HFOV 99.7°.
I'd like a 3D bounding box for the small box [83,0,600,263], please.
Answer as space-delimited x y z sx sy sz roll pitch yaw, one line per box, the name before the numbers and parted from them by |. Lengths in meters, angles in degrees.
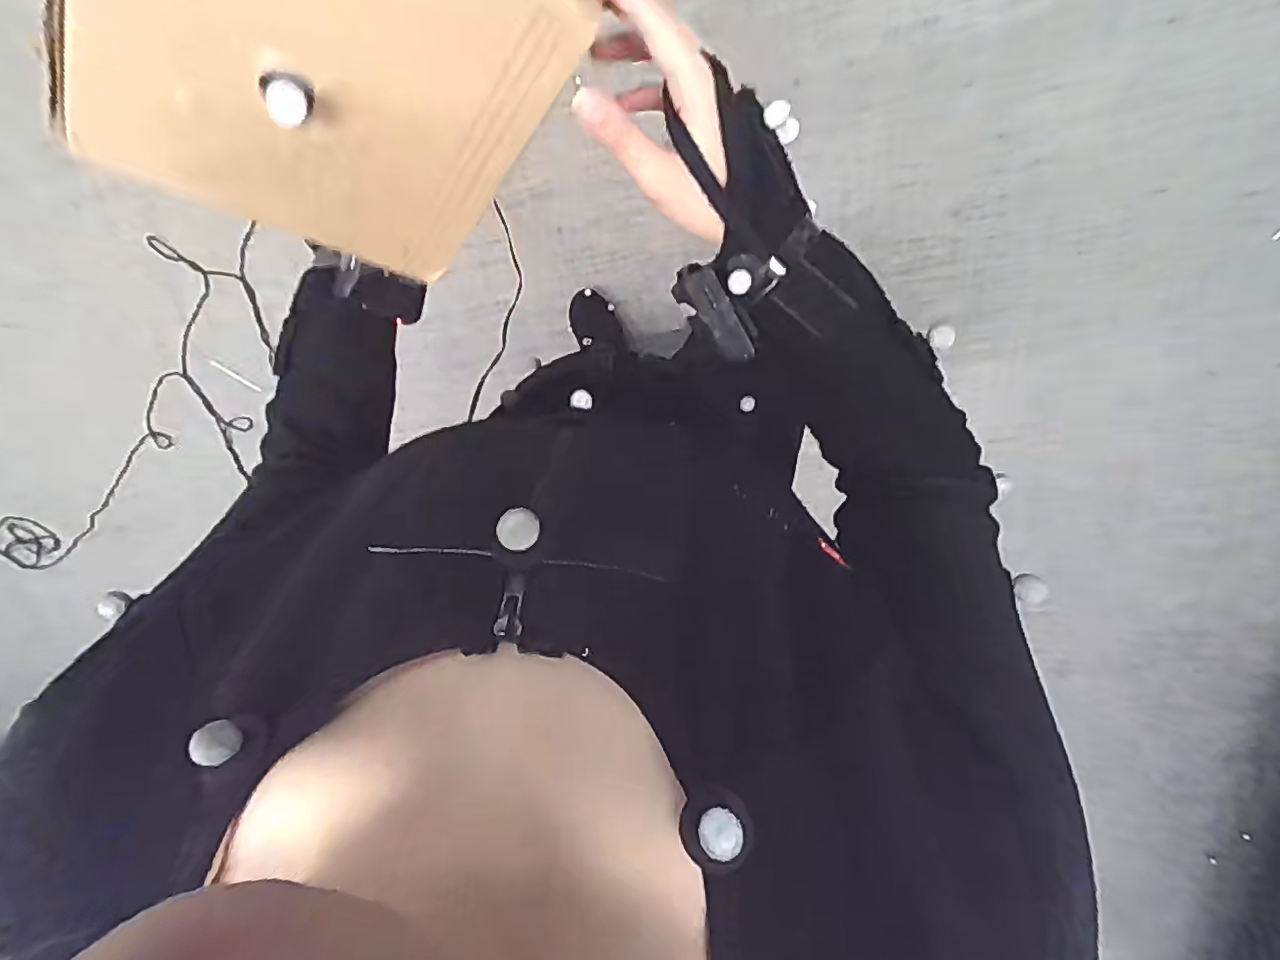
small box | -0.144 -0.247 0.271 0.176 0.168 0.179 8 146 -45
